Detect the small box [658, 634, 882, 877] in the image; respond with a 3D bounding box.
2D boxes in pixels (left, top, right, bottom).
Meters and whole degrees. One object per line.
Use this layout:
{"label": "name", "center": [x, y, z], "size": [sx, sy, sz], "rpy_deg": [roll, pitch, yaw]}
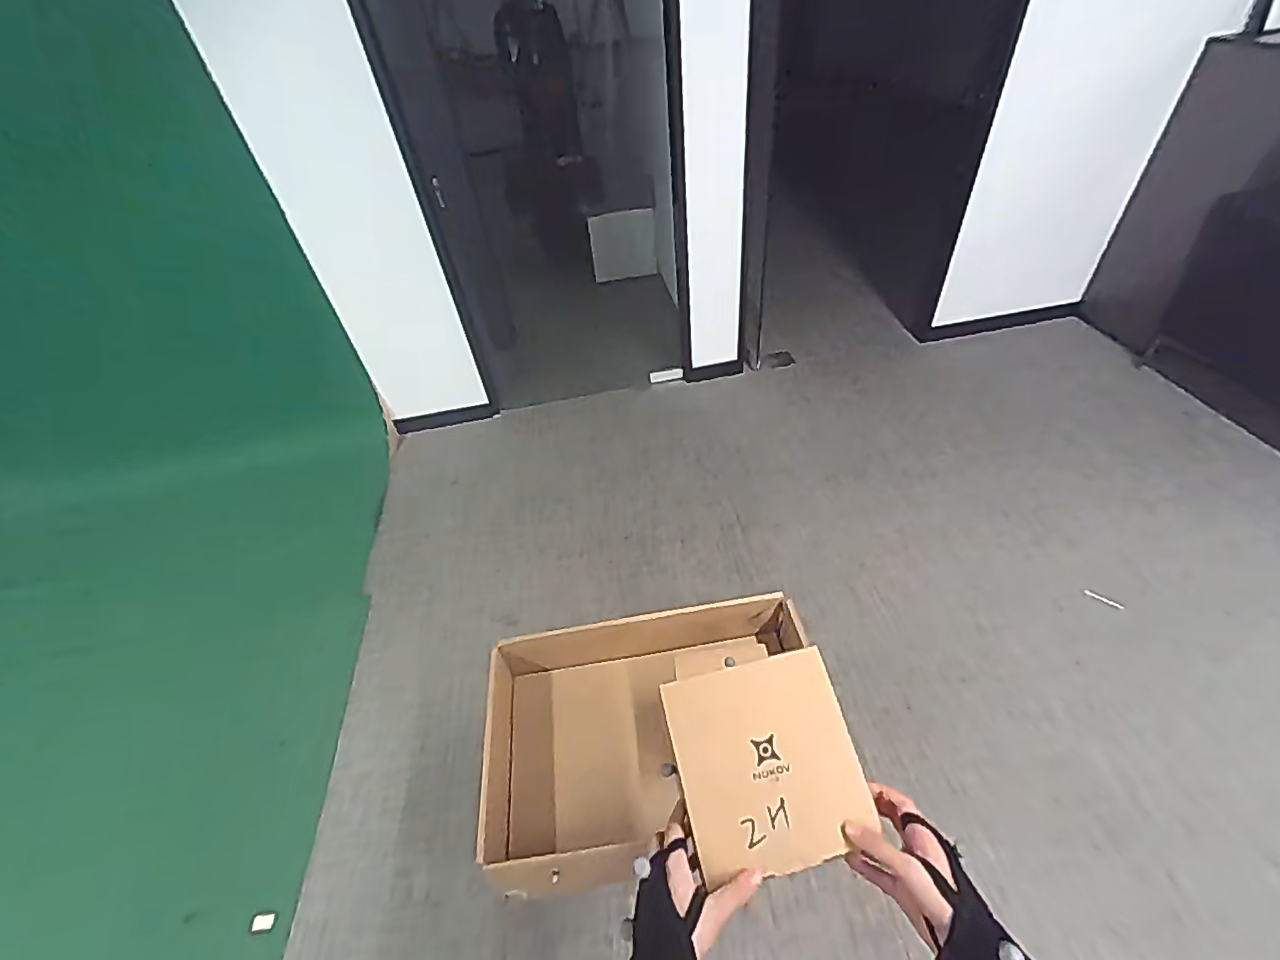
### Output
{"label": "small box", "center": [0.116, 0.280, 0.572], "size": [0.168, 0.176, 0.179], "rpy_deg": [-13, 66, -4]}
